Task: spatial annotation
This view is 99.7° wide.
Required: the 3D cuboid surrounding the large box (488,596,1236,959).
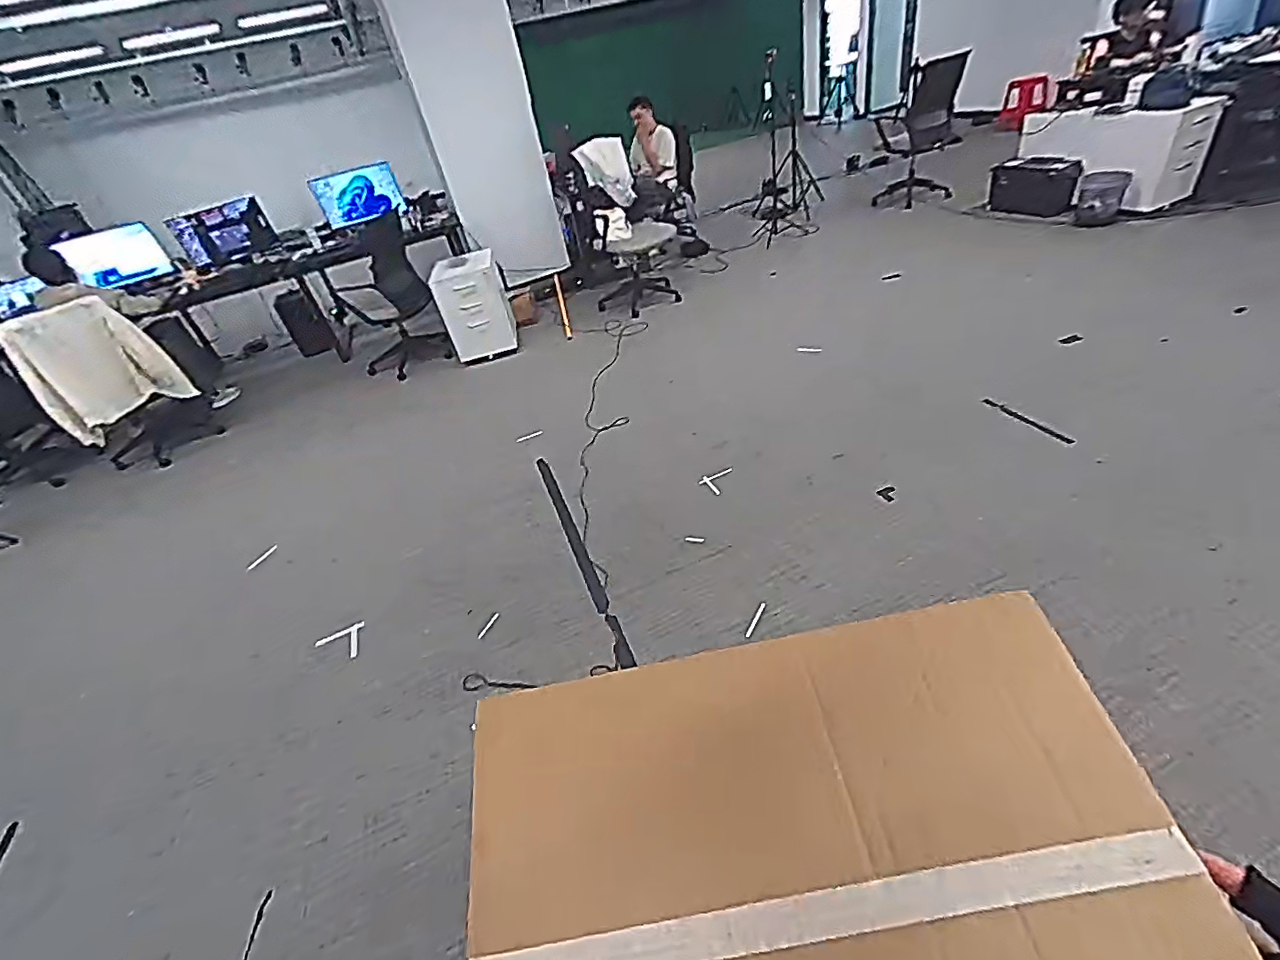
[{"bbox_3d":[0.126,0.335,0.431,0.408,0.320,0.320,-13,55,3],"label":"large box"}]
